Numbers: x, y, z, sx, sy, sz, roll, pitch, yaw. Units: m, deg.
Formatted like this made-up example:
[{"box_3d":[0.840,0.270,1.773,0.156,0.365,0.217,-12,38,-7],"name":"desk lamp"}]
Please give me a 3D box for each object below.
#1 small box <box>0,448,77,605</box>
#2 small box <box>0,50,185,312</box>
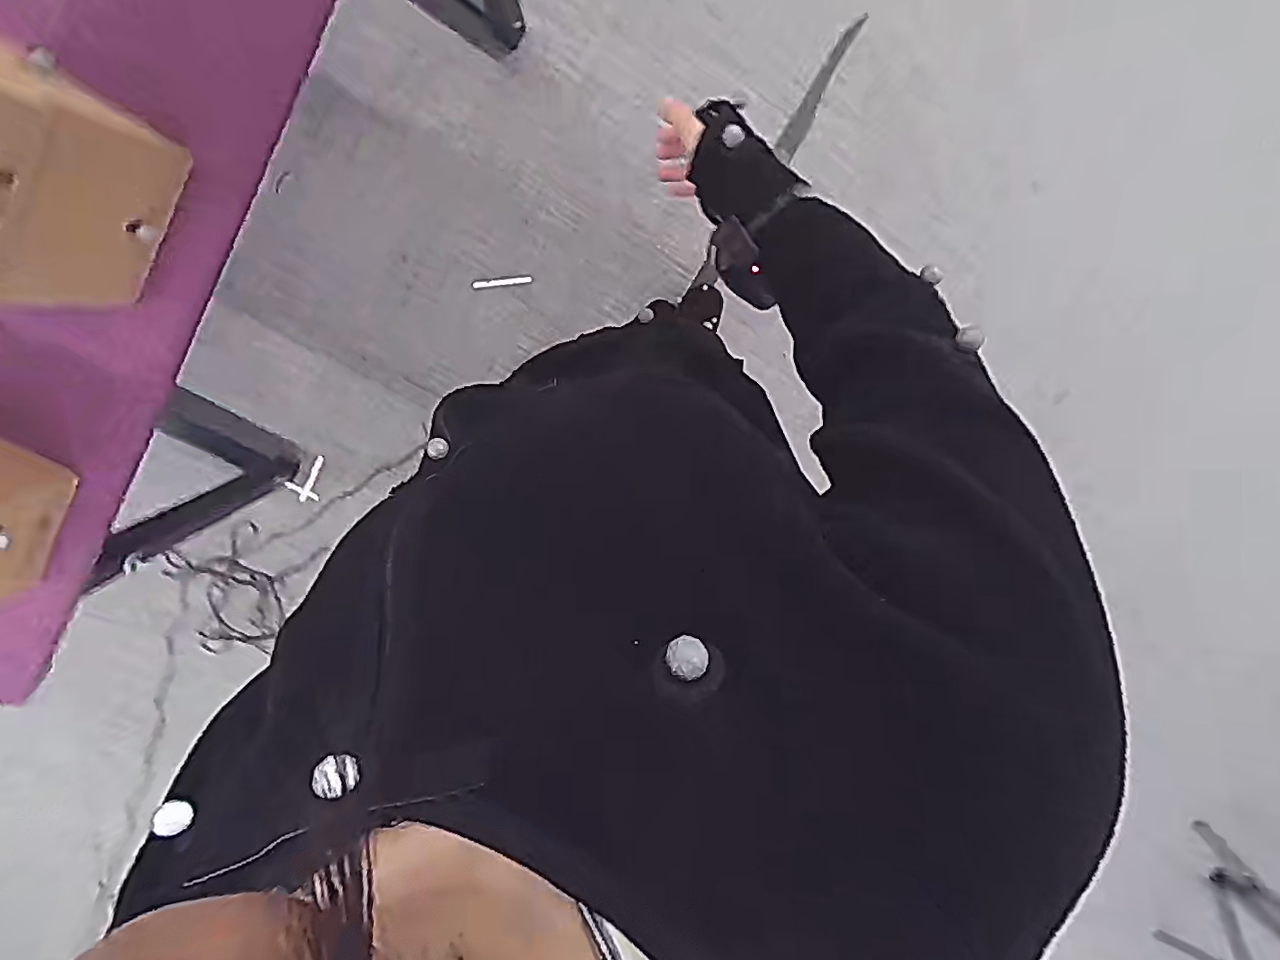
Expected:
[{"box_3d":[-0.754,0.051,0.549,0.179,0.176,0.168,30,100,-12],"name":"small box"},{"box_3d":[-0.555,-0.267,0.471,0.168,0.176,0.179,30,101,-14],"name":"small box"}]
